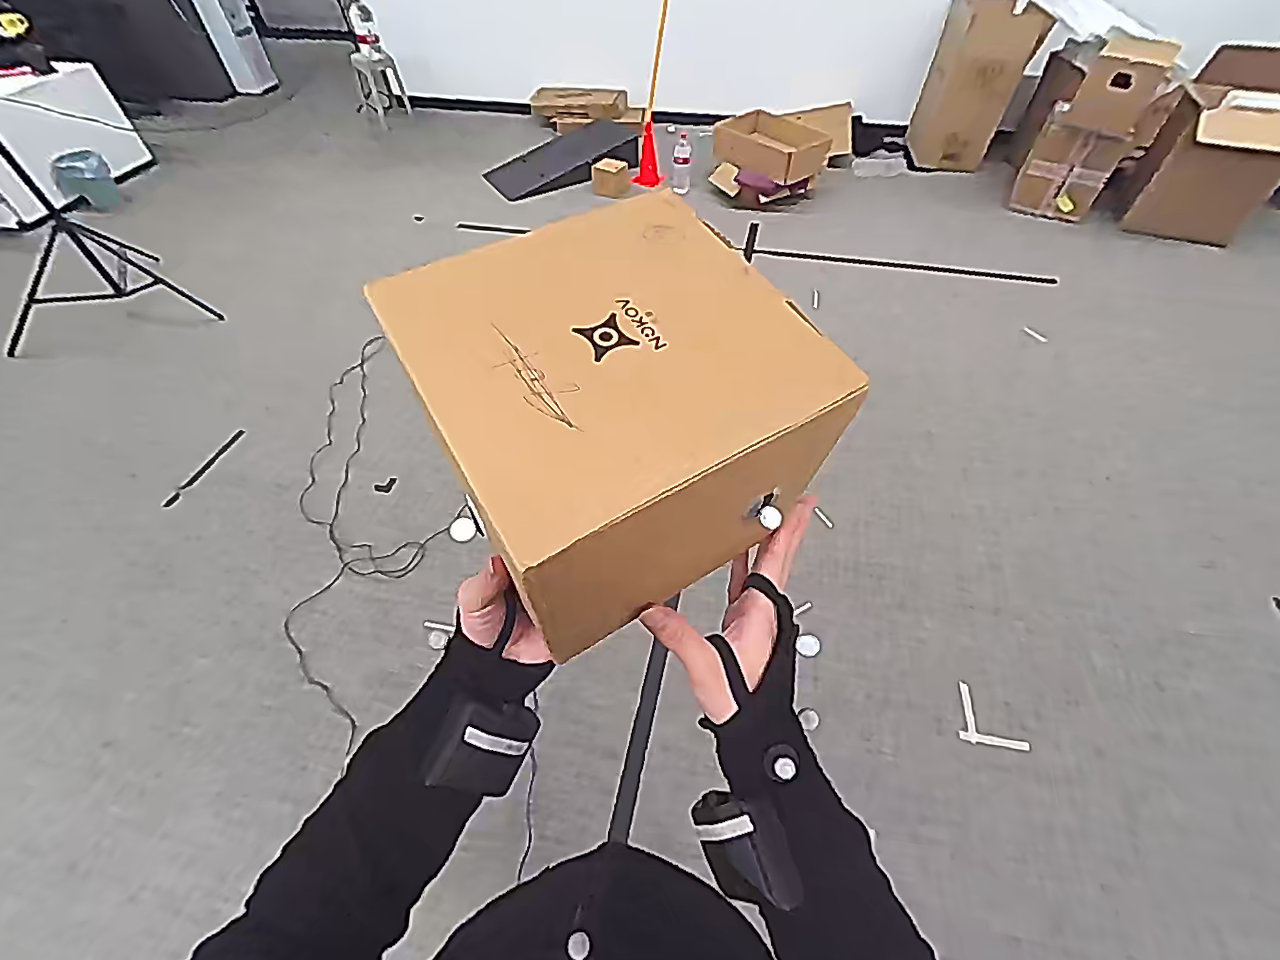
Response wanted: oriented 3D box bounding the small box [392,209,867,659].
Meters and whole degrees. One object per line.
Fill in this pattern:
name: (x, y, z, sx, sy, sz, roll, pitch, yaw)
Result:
small box: (-0.012, -0.020, 0.326, 0.179, 0.176, 0.168, -28, 65, -18)
